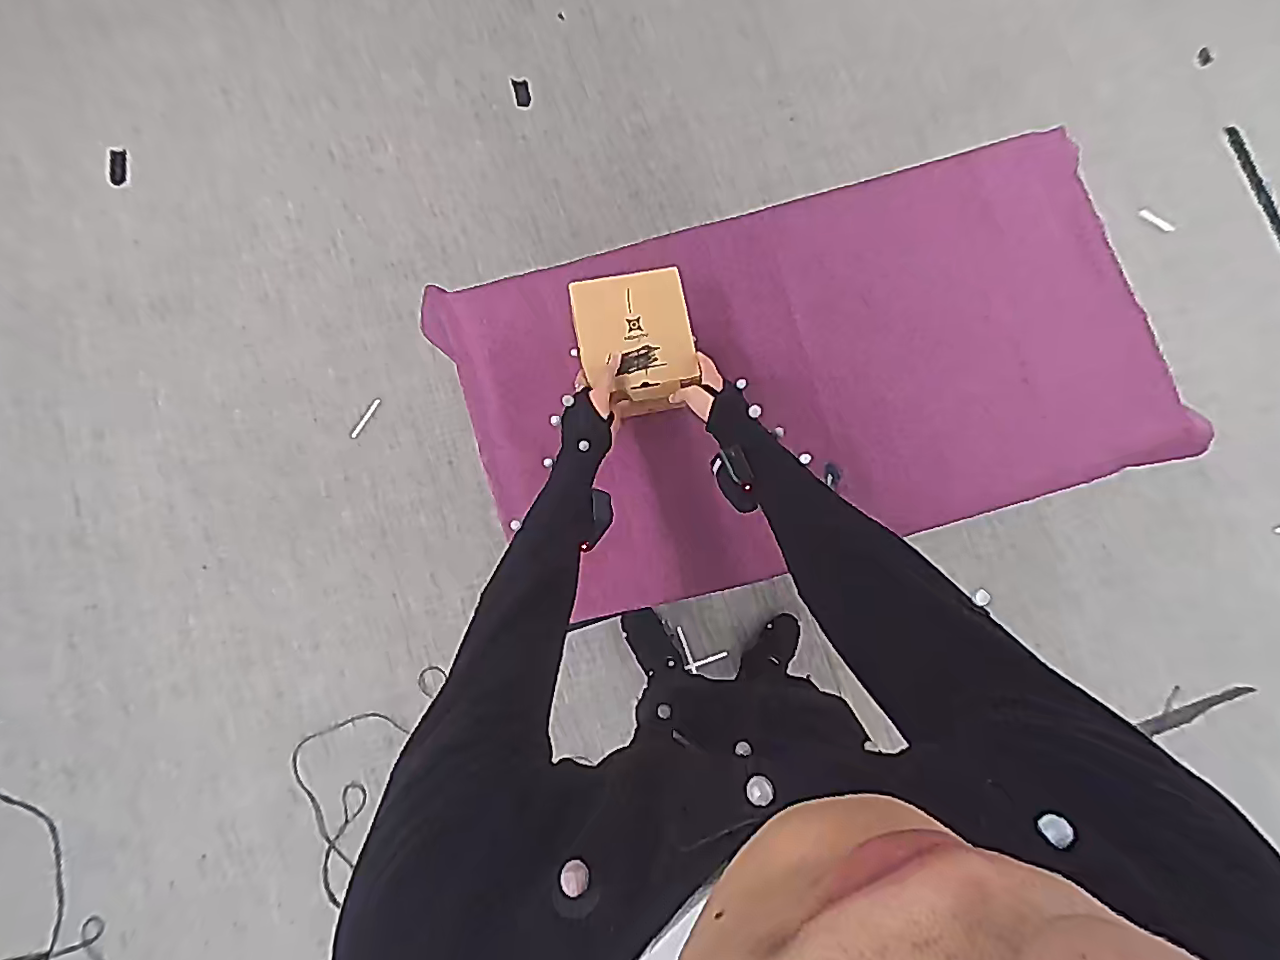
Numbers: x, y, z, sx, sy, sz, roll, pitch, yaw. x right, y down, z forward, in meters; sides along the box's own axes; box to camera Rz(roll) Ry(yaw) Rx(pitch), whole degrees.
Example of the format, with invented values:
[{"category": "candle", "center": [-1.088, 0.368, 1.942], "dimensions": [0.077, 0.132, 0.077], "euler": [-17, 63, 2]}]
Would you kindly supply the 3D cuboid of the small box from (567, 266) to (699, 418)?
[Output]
[{"category": "small box", "center": [-0.013, -0.205, 0.859], "dimensions": [0.168, 0.176, 0.179], "euler": [-12, 83, -4]}]
